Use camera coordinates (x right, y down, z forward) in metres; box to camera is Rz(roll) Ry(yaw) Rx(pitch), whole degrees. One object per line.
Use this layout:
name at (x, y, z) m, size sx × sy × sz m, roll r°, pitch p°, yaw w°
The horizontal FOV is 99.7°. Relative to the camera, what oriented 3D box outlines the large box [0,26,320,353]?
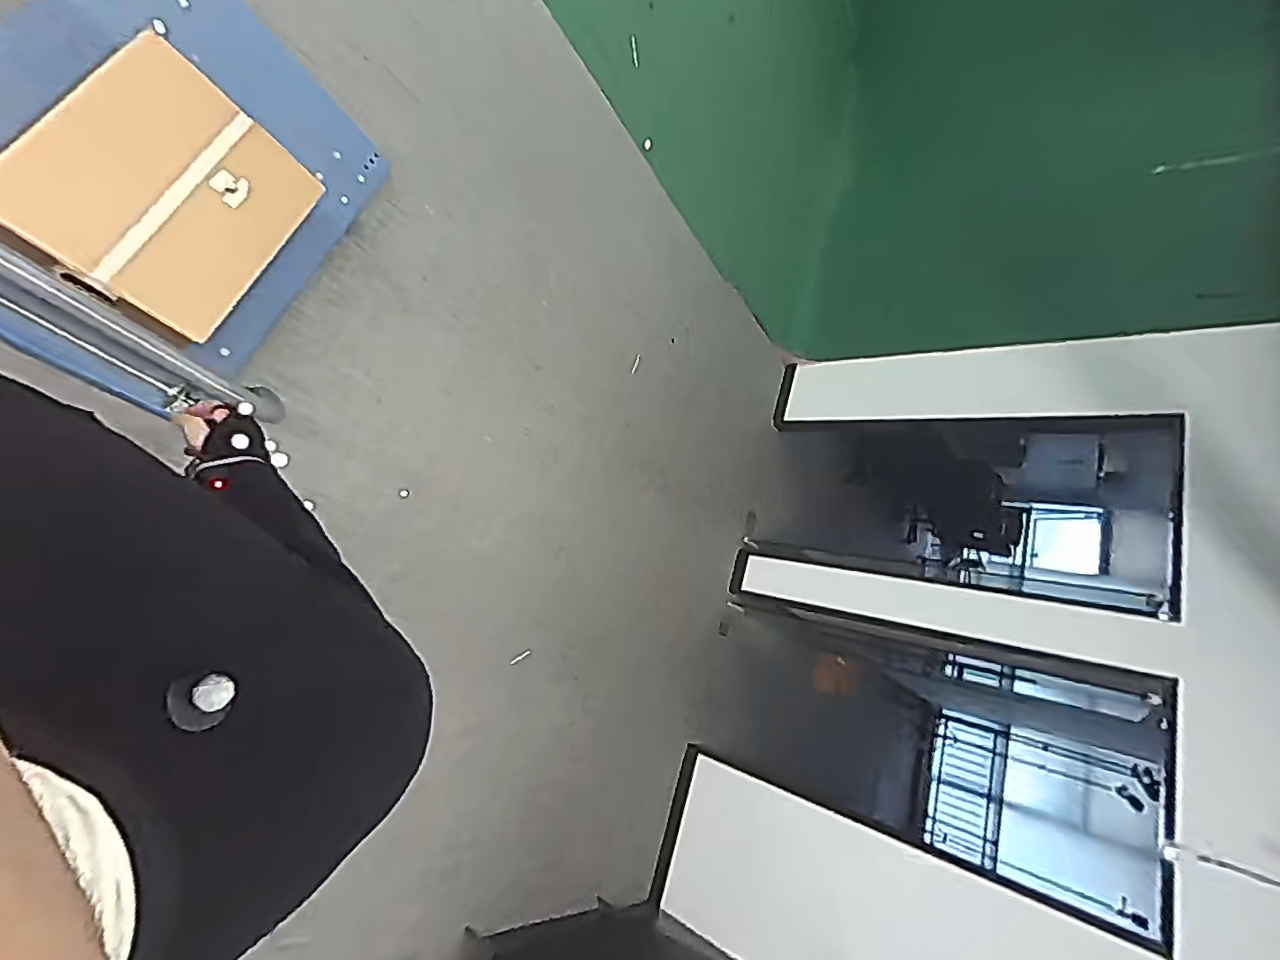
large box at (-0.902, -0.500, 1.007) m, size 0.320 × 0.320 × 0.408 m, roll 44°, pitch 60°, yaw -45°
